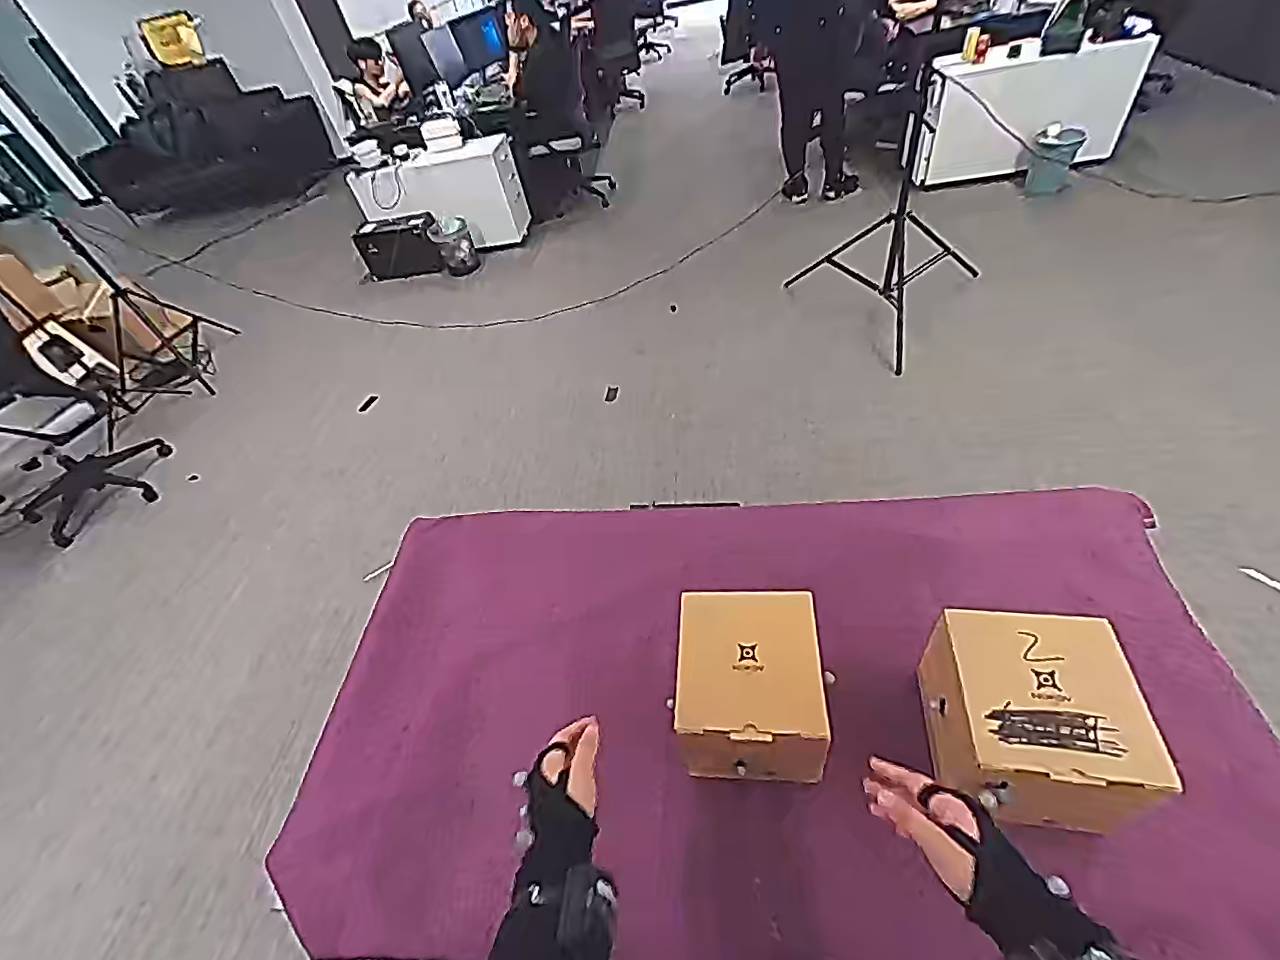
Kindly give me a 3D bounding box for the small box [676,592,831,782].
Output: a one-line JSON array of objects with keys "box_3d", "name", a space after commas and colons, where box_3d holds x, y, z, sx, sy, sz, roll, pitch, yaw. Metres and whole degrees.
[{"box_3d": [0.140, 0.262, 0.690, 0.168, 0.176, 0.179, -2, 47, 11], "name": "small box"}]
